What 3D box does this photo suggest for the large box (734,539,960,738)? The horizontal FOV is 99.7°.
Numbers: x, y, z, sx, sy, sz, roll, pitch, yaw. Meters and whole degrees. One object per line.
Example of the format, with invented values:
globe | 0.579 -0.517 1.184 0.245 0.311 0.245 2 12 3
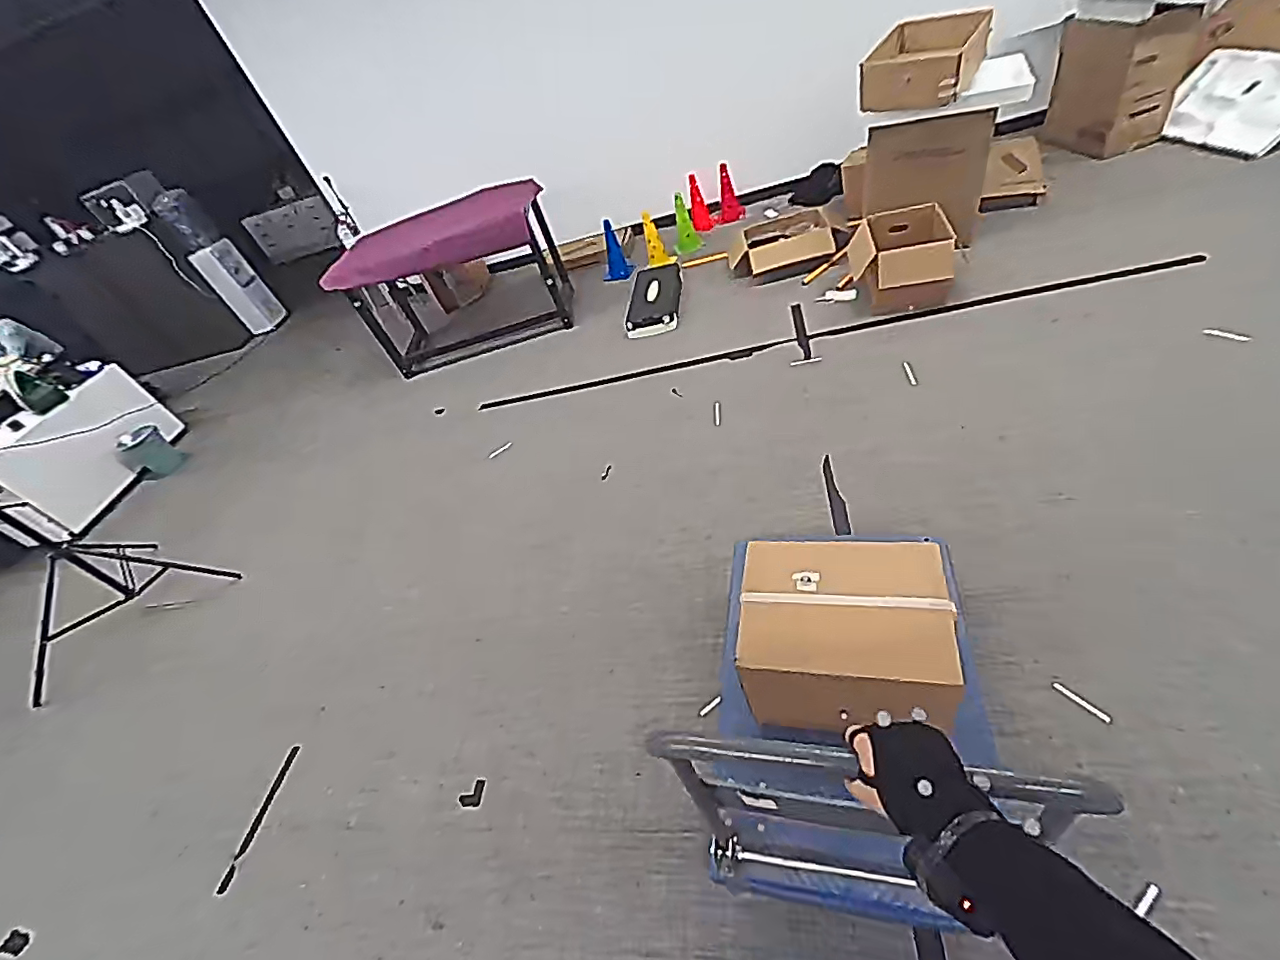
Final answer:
large box | 0.447 0.349 1.203 0.408 0.320 0.320 -3 45 21
